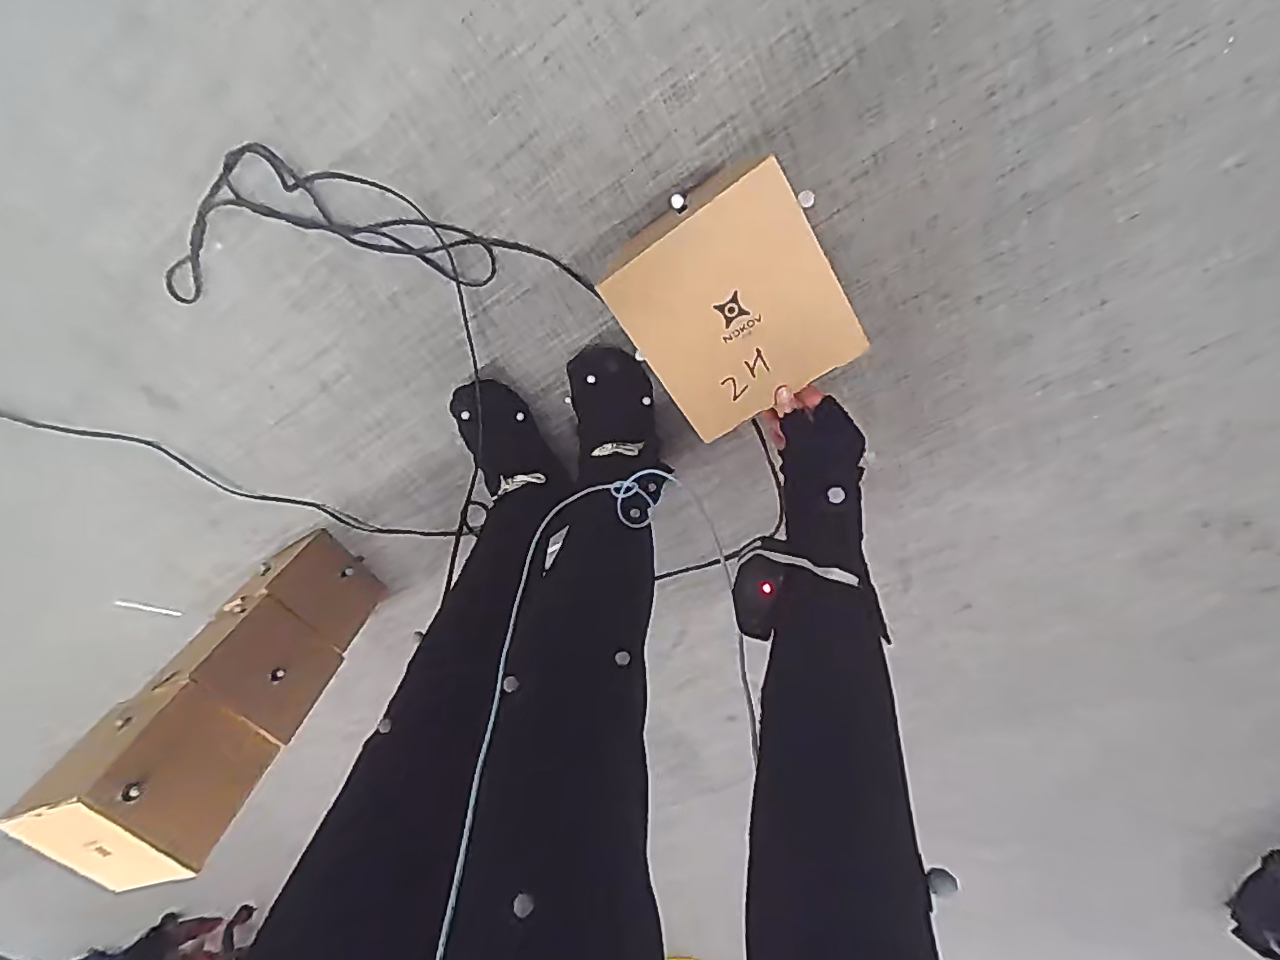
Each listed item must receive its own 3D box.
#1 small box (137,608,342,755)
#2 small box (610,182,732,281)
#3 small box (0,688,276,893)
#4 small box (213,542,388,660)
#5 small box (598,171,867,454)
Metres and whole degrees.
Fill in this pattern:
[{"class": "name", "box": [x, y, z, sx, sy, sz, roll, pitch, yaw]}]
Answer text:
[{"class": "small box", "box": [-0.631, 0.329, 0.865, 0.168, 0.176, 0.179, -25, 116, 18]}, {"class": "small box", "box": [0.086, -0.238, 0.663, 0.168, 0.176, 0.179, -30, 114, 19]}, {"class": "small box", "box": [-0.650, 0.414, 0.728, 0.168, 0.176, 0.179, -20, 116, 16]}, {"class": "small box", "box": [-0.617, 0.238, 1.004, 0.168, 0.176, 0.179, -27, 113, 22]}, {"class": "small box", "box": [0.082, -0.162, 0.517, 0.168, 0.176, 0.179, -30, 114, 20]}]
